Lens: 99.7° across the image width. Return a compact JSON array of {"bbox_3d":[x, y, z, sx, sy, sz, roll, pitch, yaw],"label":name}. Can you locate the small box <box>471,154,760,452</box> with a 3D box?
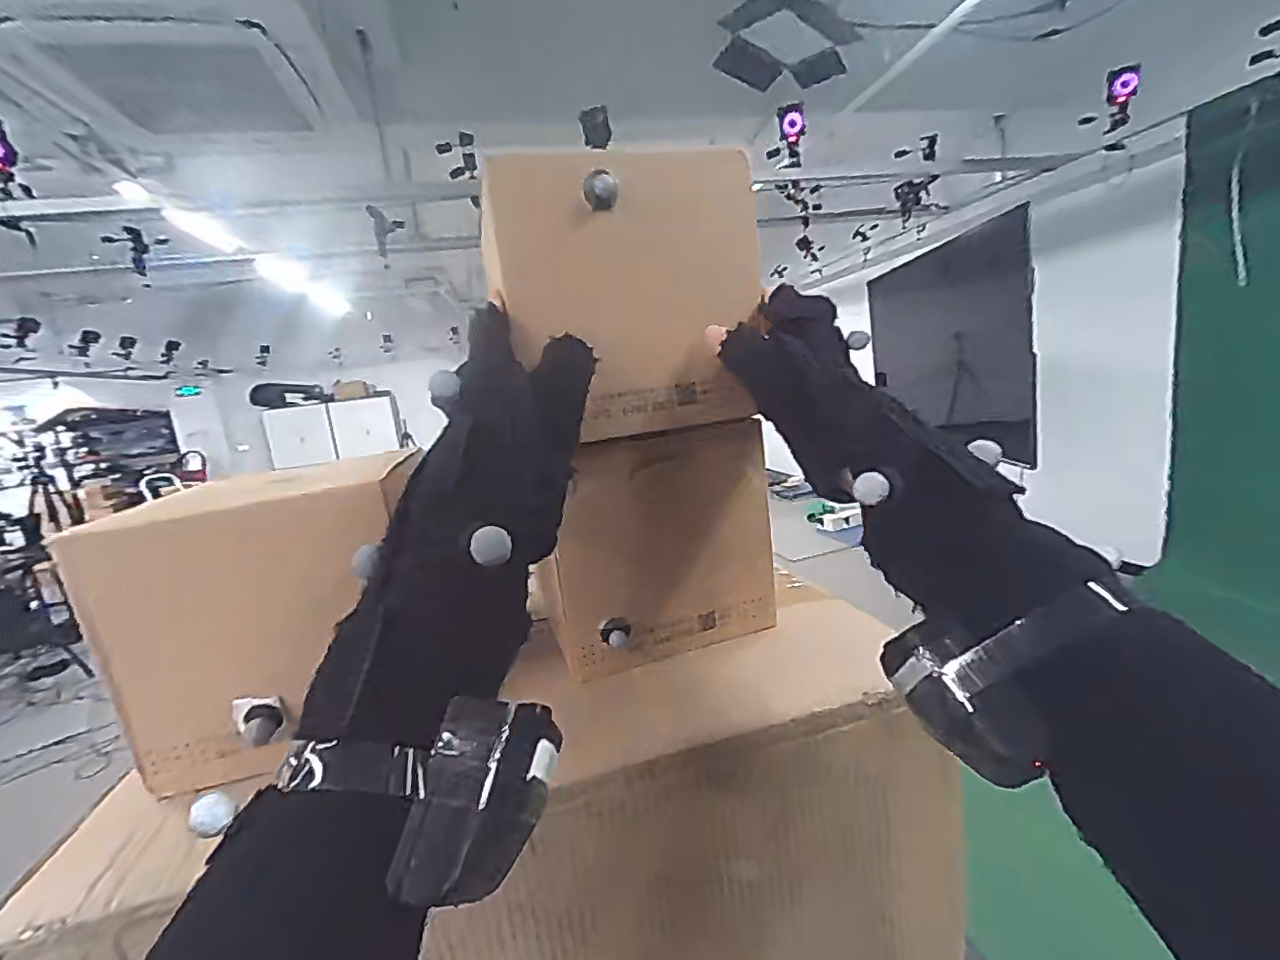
[{"bbox_3d":[-0.025,-0.118,0.411,0.168,0.176,0.179,-12,11,-14],"label":"small box"}]

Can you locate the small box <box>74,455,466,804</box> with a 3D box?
[{"bbox_3d":[-0.232,0.088,0.399,0.168,0.176,0.179,-13,14,-12],"label":"small box"}]

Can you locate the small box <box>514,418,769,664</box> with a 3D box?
[{"bbox_3d":[-0.005,0.038,0.466,0.168,0.176,0.179,-11,11,-17],"label":"small box"}]
